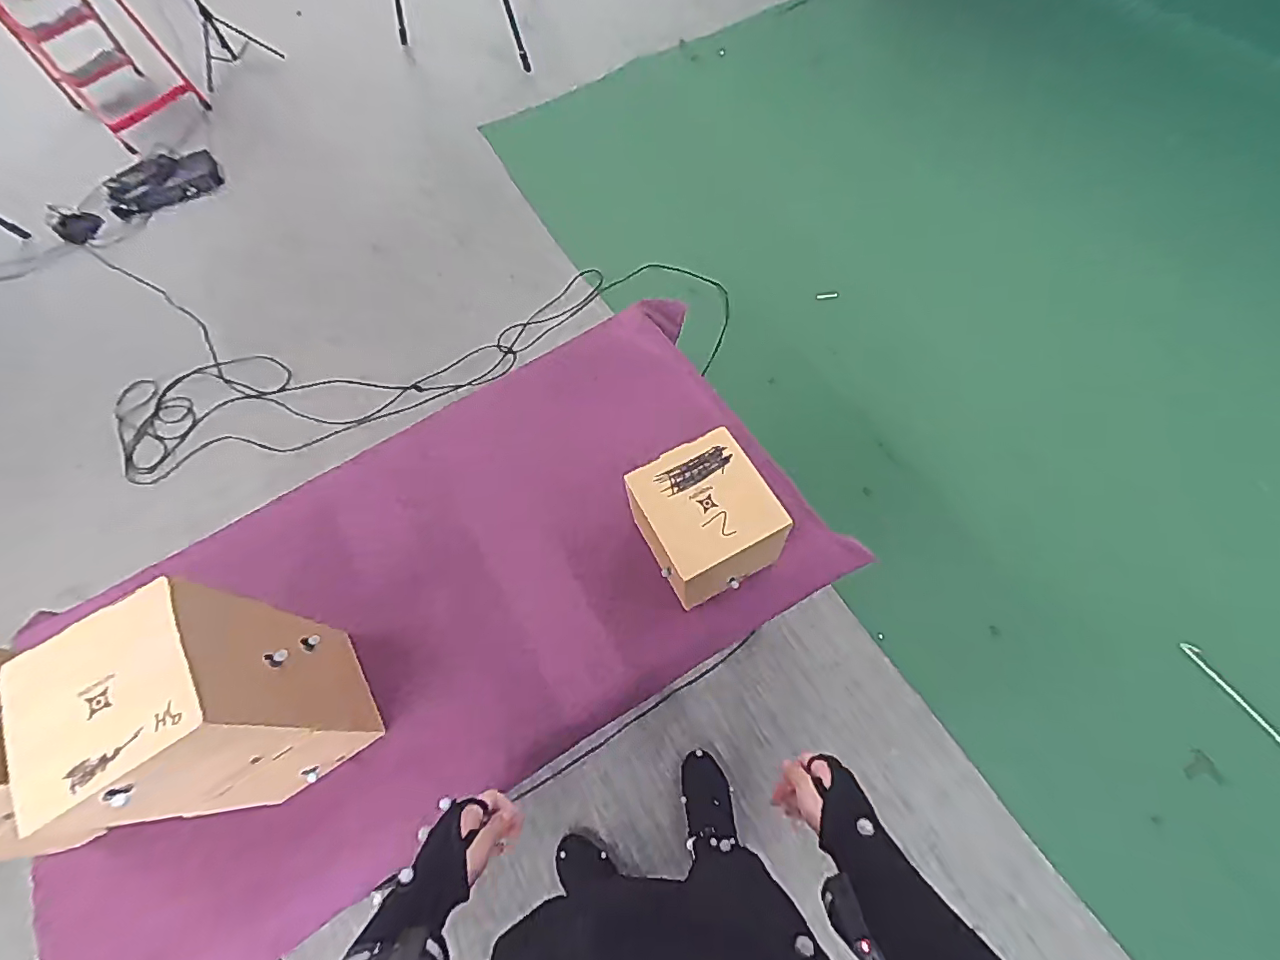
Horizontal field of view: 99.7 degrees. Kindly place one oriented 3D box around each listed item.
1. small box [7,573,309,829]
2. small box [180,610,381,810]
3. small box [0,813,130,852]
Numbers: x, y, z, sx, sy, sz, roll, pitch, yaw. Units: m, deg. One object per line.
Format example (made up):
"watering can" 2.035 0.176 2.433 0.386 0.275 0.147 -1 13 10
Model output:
"small box" -0.505 0.235 0.586 0.168 0.176 0.179 -33 65 -10
"small box" -0.491 0.308 0.733 0.168 0.176 0.179 -32 67 -10
"small box" -0.765 0.368 0.728 0.168 0.176 0.179 -33 67 -10
